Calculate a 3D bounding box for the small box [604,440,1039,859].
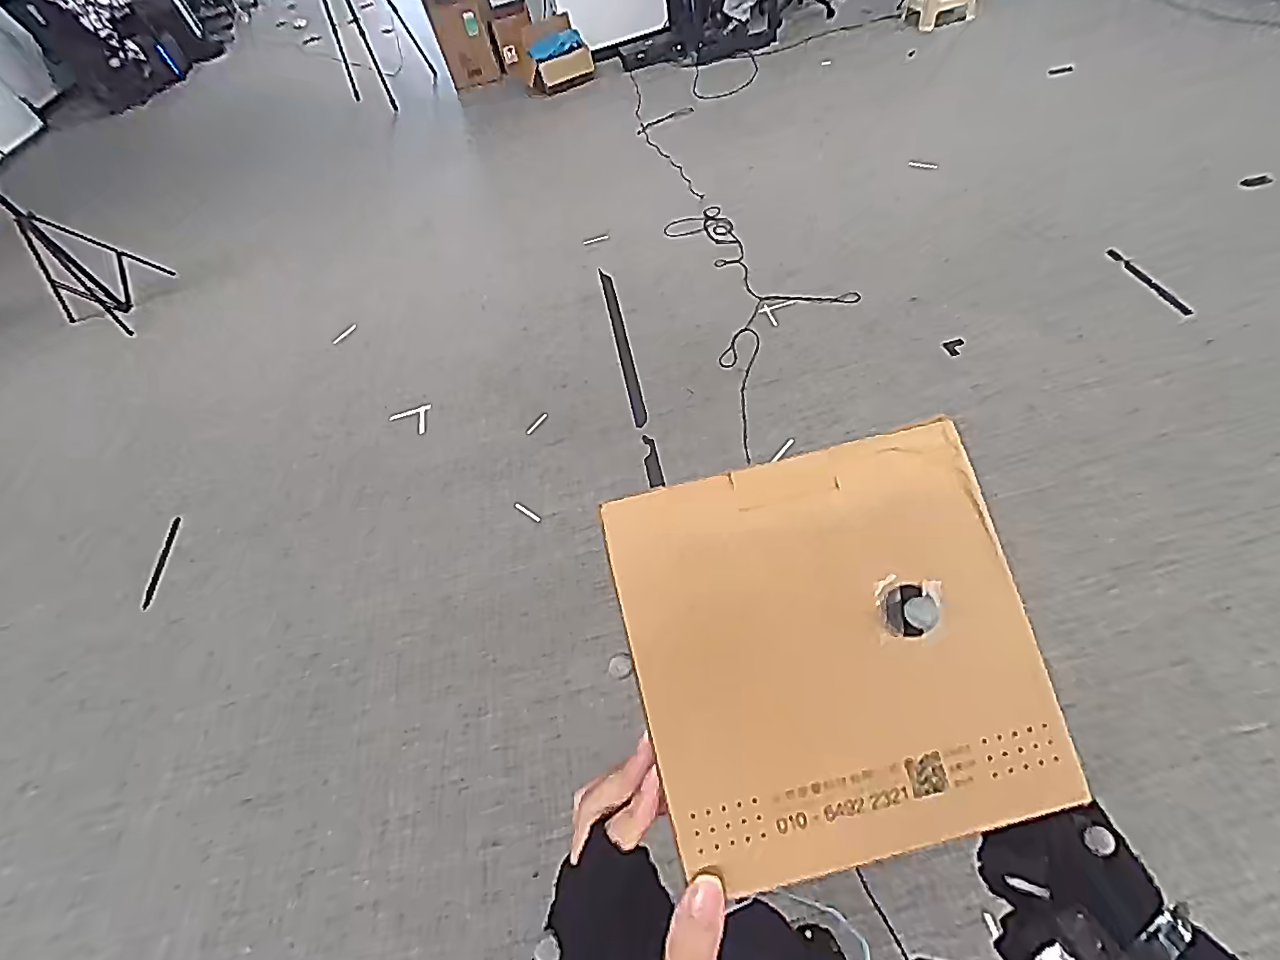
[{"bbox_3d":[0.085,0.093,0.324,0.168,0.179,0.176,-14,80,0],"label":"small box"}]
